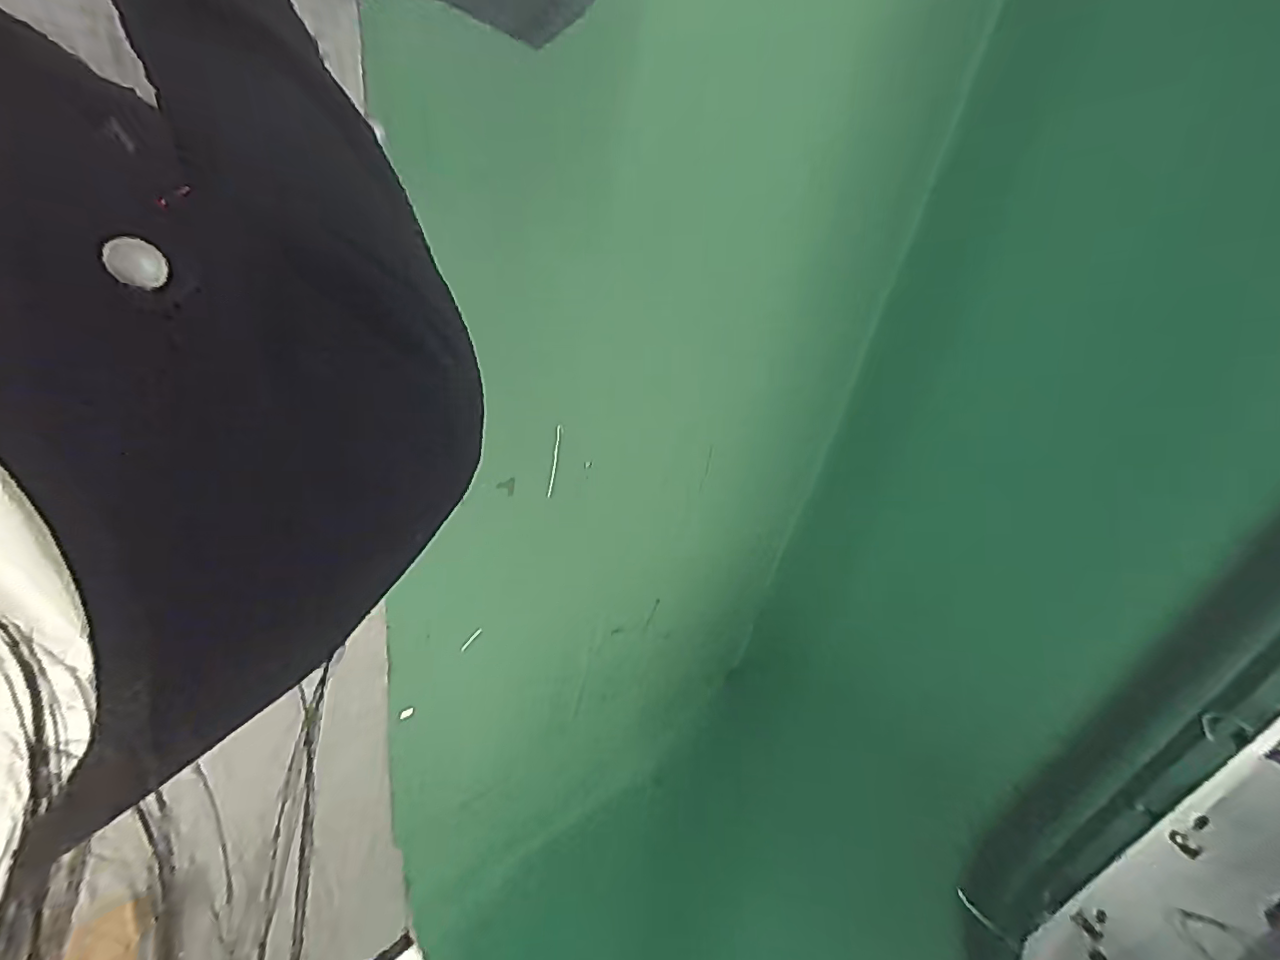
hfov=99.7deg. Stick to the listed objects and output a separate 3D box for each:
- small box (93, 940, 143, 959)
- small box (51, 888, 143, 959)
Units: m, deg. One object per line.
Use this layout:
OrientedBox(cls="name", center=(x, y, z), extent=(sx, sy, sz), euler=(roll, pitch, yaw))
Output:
OrientedBox(cls="small box", center=(-1.503, 1.463, 1.521), extent=(0.168, 0.176, 0.179), euler=(-16, 128, -47))
OrientedBox(cls="small box", center=(-1.615, 1.383, 1.608), extent=(0.179, 0.176, 0.168), euler=(-12, 127, -46))
